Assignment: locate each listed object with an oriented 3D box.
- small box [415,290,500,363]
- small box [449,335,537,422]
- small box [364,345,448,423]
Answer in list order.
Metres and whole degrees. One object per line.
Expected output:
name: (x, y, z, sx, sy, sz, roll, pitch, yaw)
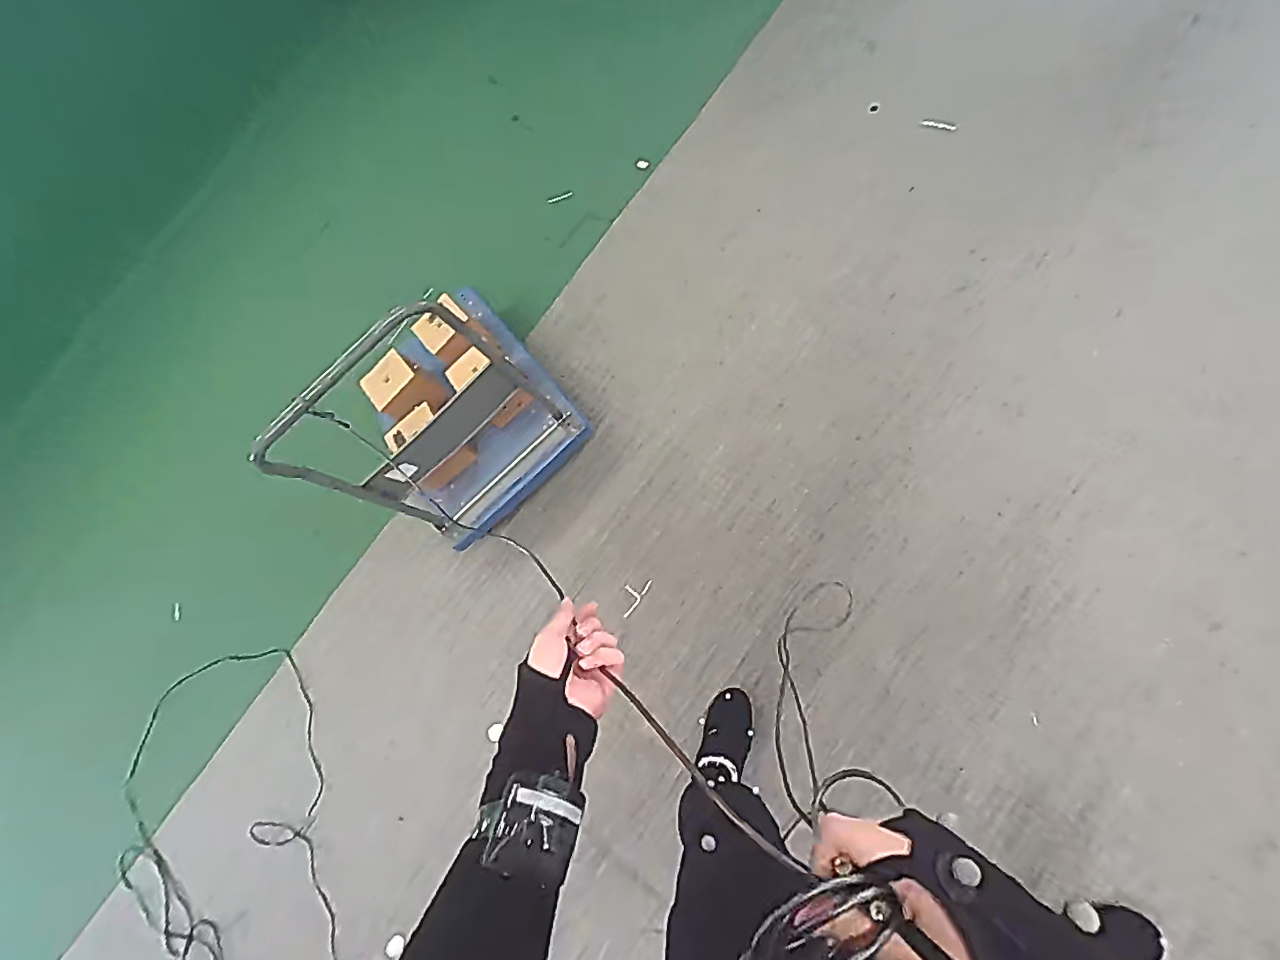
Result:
small box: (-0.613, -0.497, 1.827, 0.168, 0.176, 0.179, -46, 62, 3)
small box: (-0.459, -0.314, 1.700, 0.168, 0.176, 0.179, -41, 62, 4)
small box: (-0.788, -0.317, 1.836, 0.168, 0.176, 0.179, -45, 61, 2)
